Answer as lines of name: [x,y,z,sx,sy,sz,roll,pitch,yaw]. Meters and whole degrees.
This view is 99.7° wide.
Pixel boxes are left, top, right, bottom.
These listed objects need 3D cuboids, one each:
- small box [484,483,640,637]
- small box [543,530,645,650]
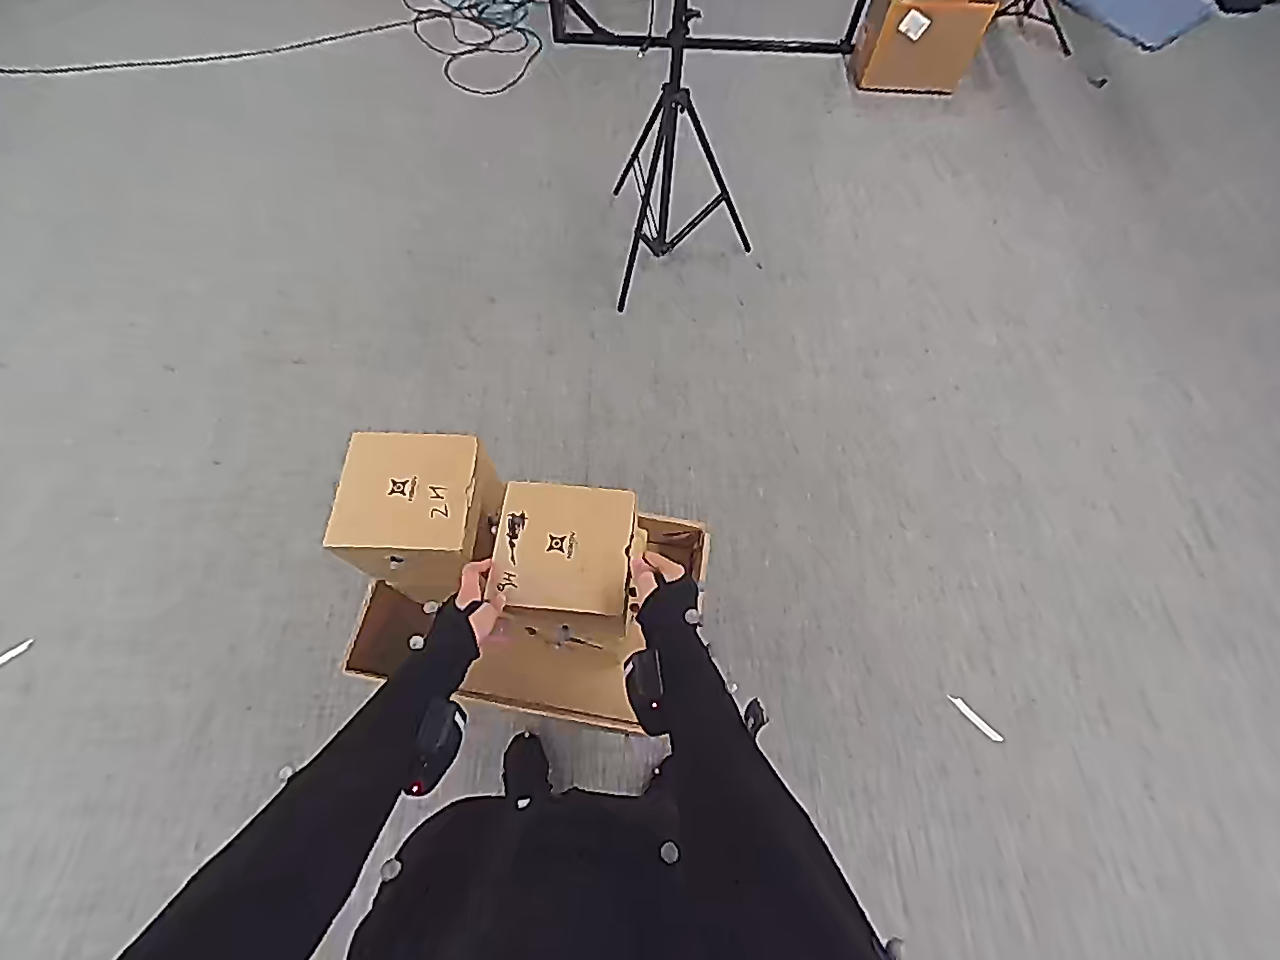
small box: [-0.097,0.120,0.755,0.179,0.176,0.168,6,66,1]
small box: [-0.088,0.175,0.909,0.168,0.176,0.179,12,66,5]
